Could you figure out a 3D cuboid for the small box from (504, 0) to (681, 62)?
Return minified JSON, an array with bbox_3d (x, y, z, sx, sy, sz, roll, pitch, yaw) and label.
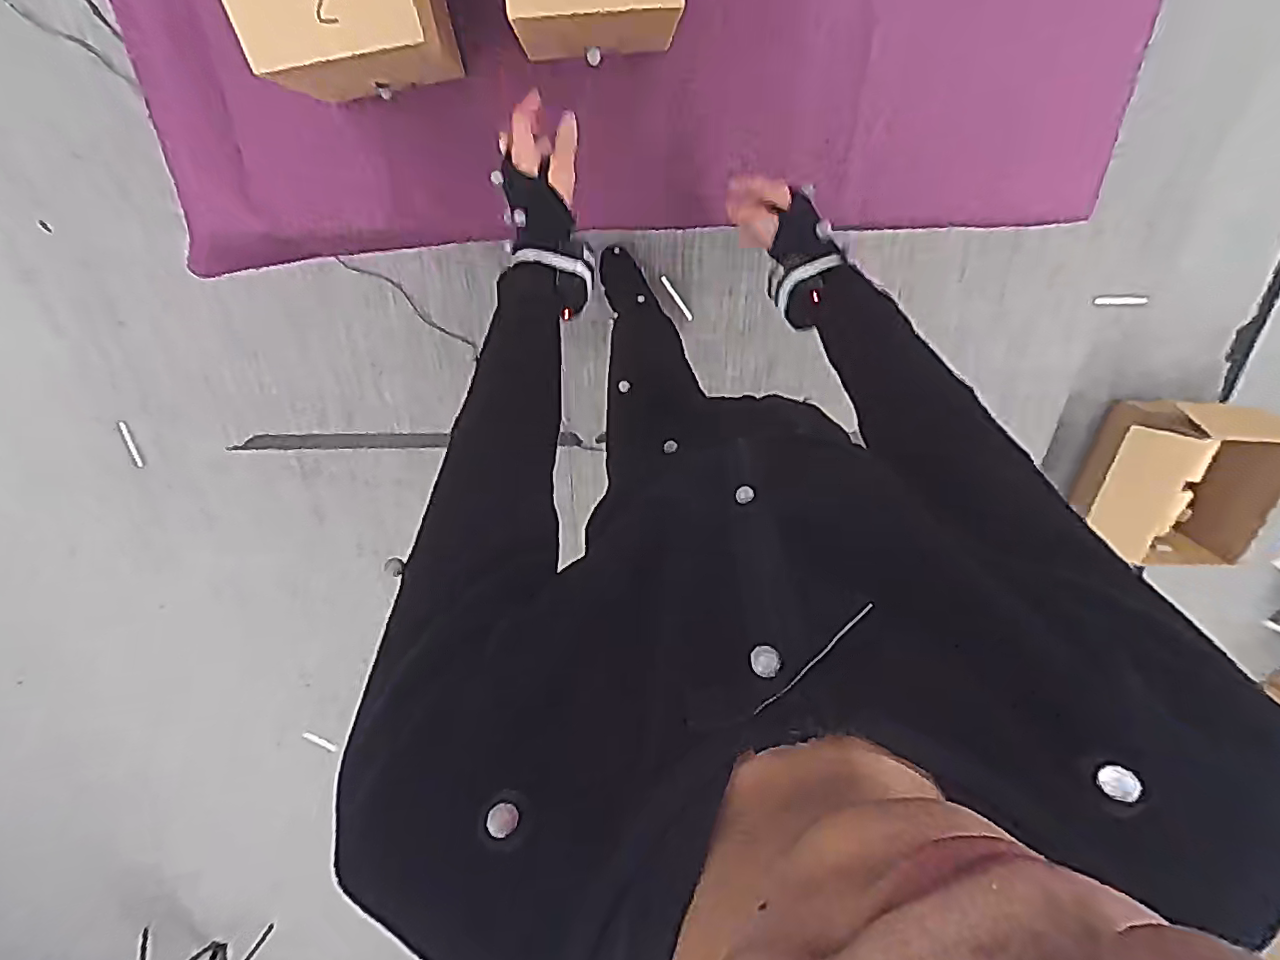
[{"bbox_3d":[-0.052,-0.541,0.531,0.168,0.176,0.179,-5,118,-1],"label":"small box"}]
